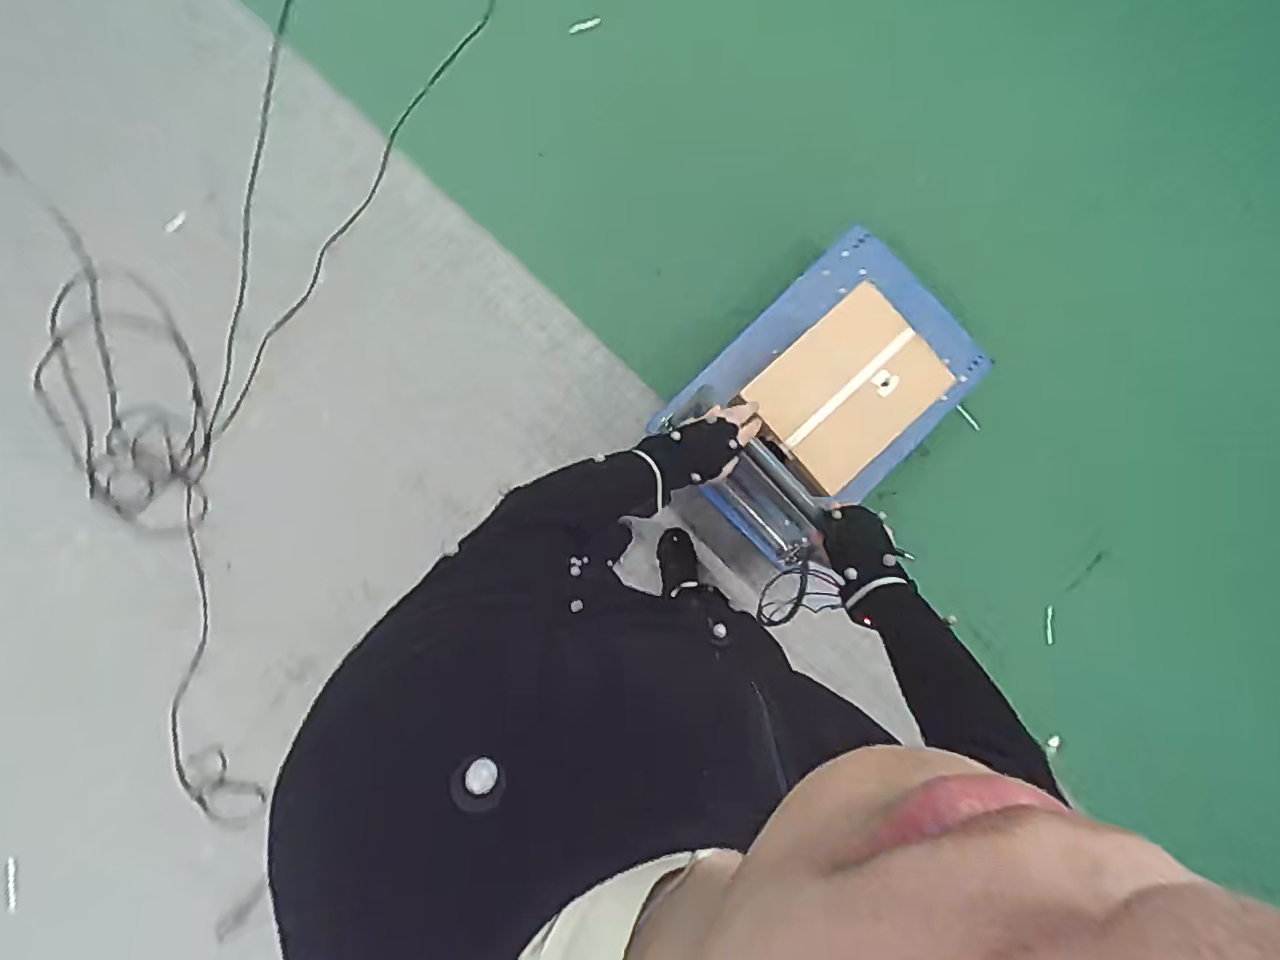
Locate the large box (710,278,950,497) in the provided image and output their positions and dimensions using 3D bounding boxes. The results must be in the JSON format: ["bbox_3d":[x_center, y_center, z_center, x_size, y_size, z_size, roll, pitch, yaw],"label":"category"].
[{"bbox_3d":[0.443,-0.202,1.343,0.408,0.320,0.320,-42,92,-6],"label":"large box"}]
